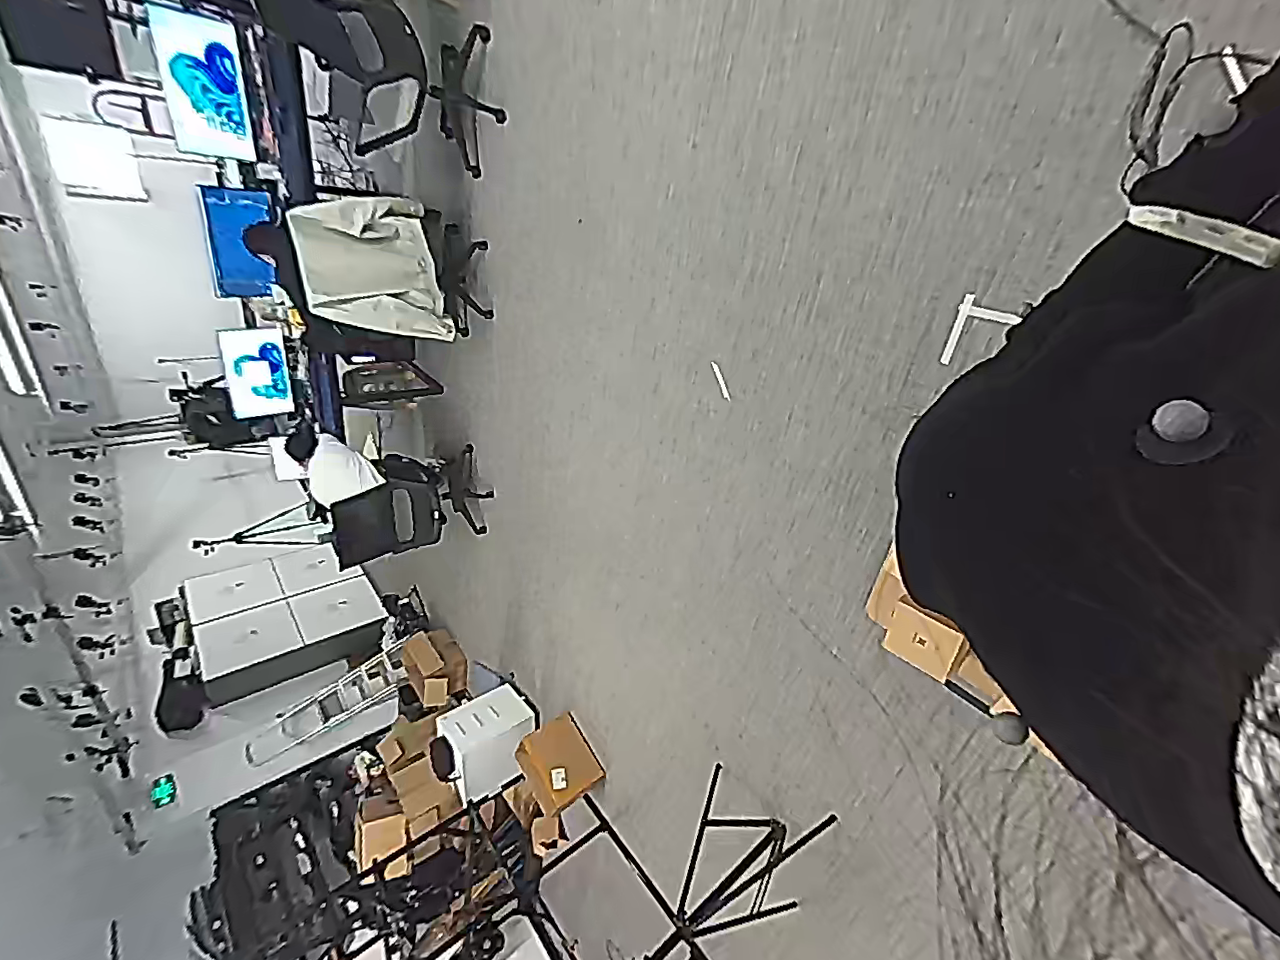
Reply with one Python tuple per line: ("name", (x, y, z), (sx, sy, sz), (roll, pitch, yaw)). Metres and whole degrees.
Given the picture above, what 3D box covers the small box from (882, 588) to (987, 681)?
("small box", (0.804, 0.403, 1.476), (0.179, 0.176, 0.168), (30, 125, 42))
